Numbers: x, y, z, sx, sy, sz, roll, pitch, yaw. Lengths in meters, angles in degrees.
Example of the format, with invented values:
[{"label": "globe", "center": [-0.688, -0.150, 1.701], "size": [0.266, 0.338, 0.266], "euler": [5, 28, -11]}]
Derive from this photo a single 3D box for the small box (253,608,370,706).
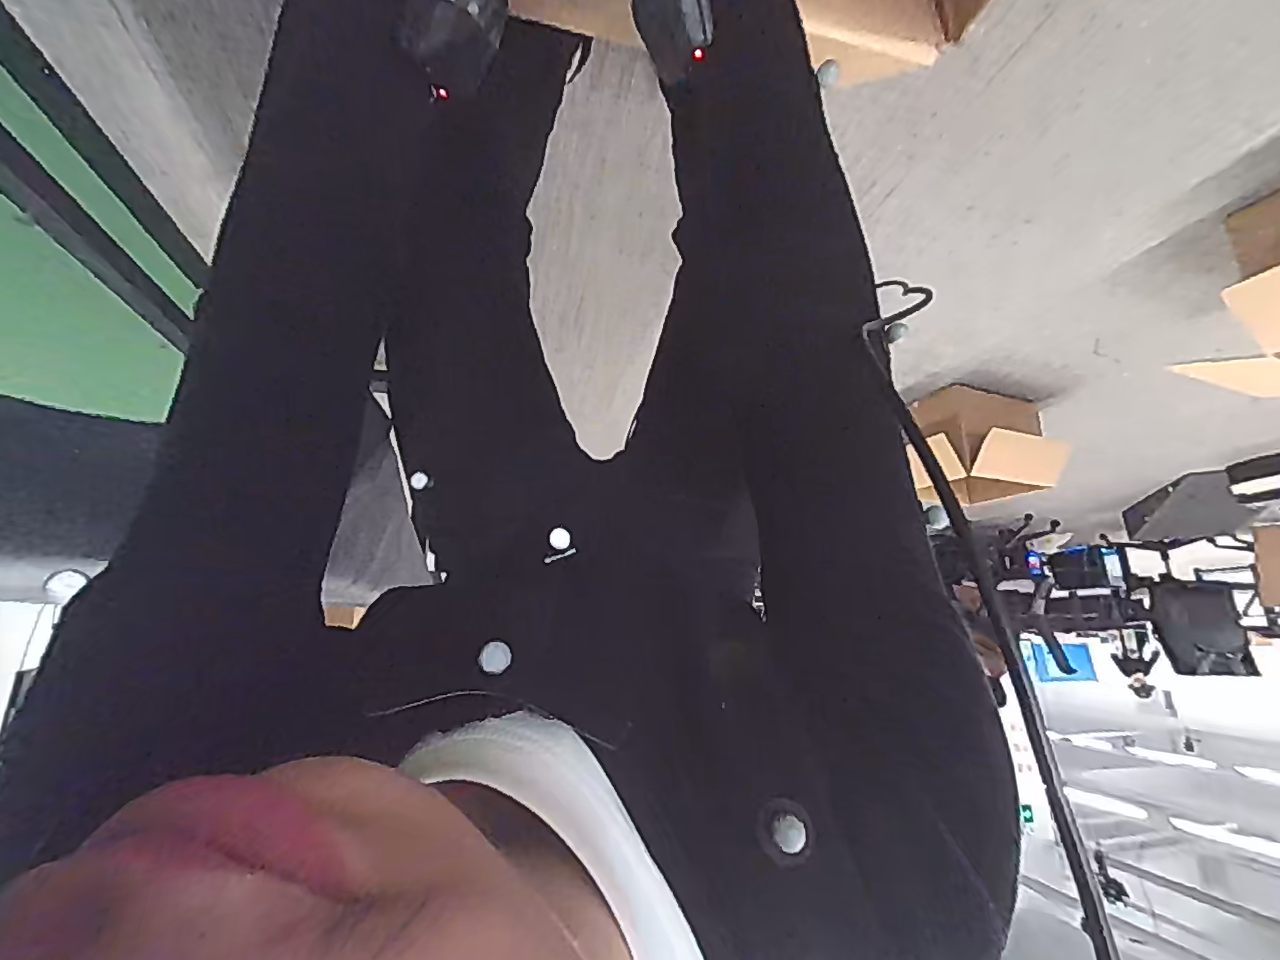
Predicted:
[{"label": "small box", "center": [-0.652, 0.343, 1.060], "size": [0.179, 0.176, 0.168], "euler": [3, 164, -12]}]
